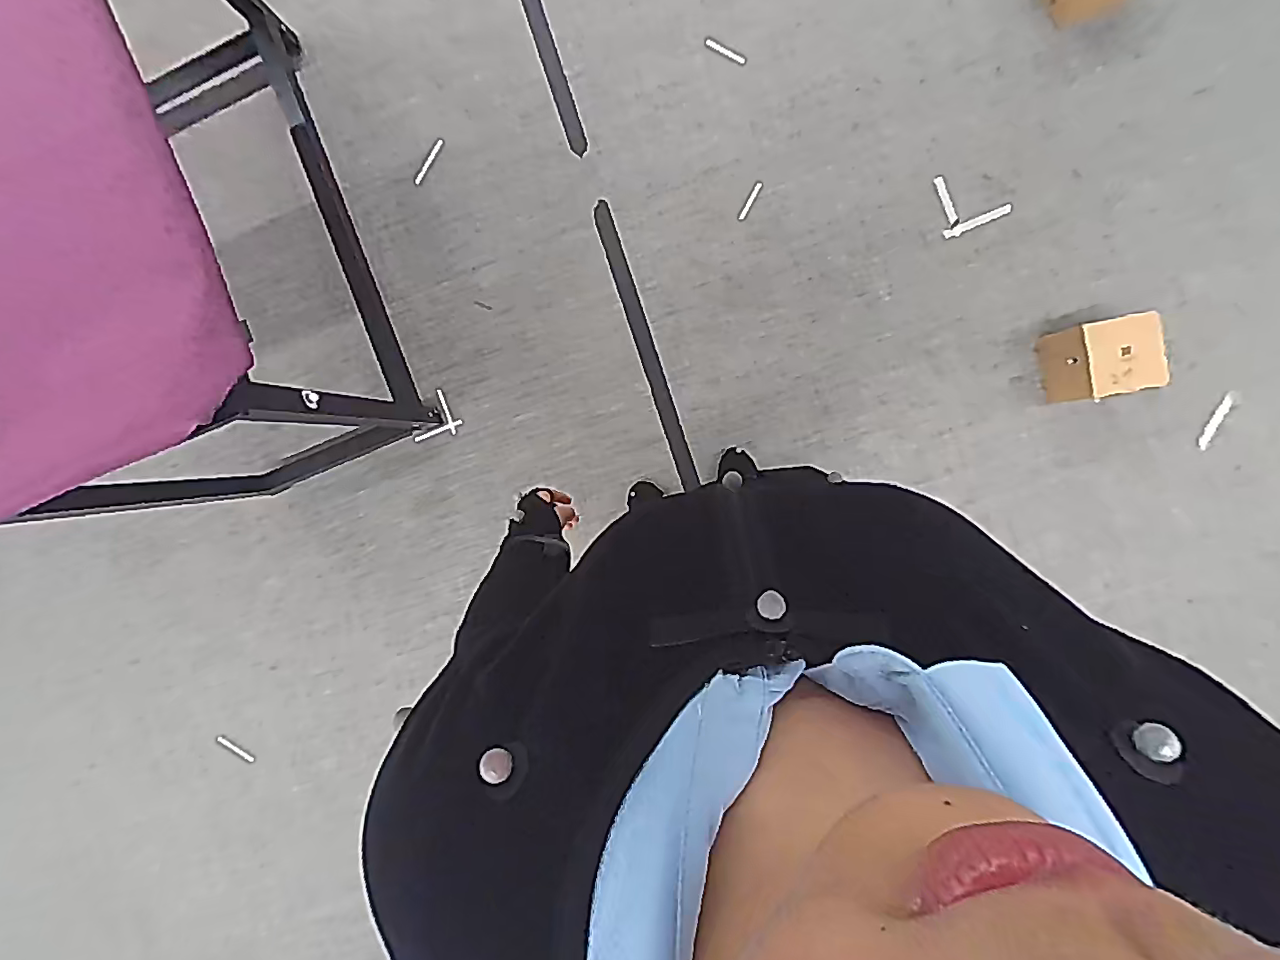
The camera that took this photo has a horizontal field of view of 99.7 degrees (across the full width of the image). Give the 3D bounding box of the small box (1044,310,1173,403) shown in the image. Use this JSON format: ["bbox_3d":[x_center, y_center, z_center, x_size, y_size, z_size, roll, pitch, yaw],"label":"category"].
[{"bbox_3d":[1.124,-0.293,1.313,0.168,0.176,0.179,-10,93,7],"label":"small box"}]
